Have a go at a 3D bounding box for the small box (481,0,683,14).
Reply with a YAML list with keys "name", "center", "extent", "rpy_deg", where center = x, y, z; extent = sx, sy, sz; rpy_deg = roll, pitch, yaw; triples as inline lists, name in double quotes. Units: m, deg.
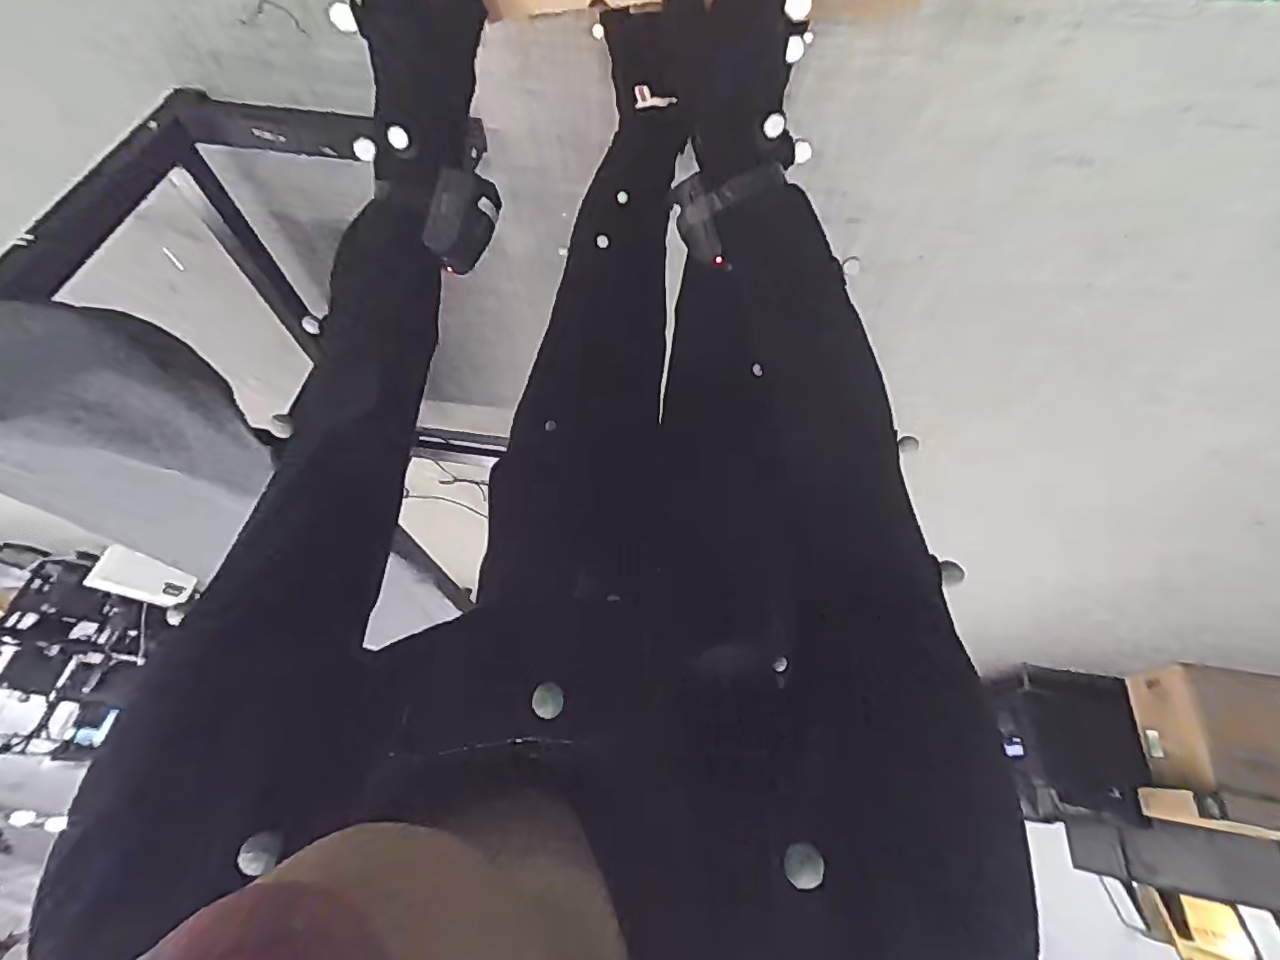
- name: "small box"
  center: [-0.031, -0.444, 0.350]
  extent: [0.168, 0.176, 0.179]
  rpy_deg: [1, 145, 7]
